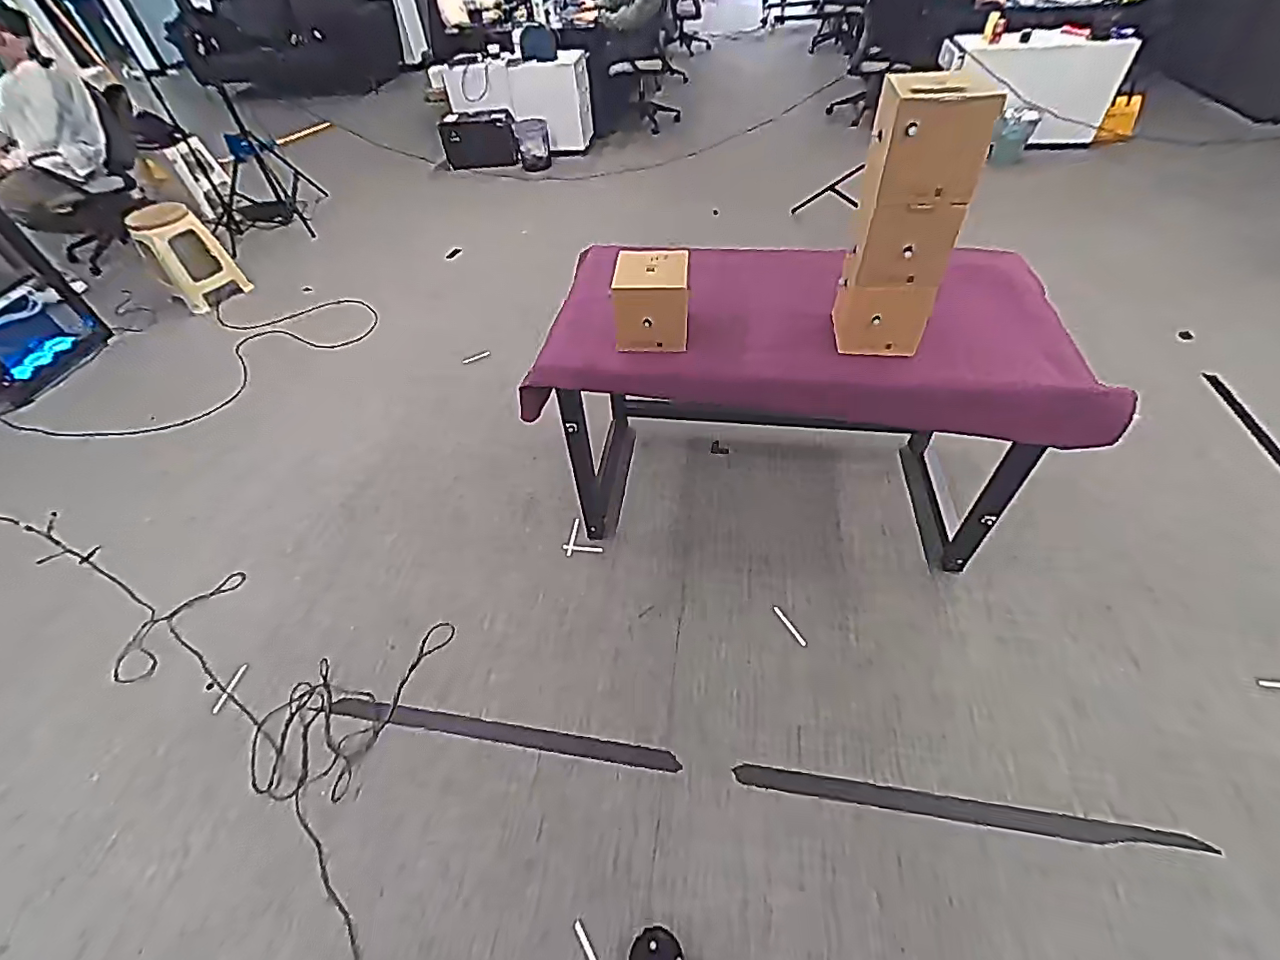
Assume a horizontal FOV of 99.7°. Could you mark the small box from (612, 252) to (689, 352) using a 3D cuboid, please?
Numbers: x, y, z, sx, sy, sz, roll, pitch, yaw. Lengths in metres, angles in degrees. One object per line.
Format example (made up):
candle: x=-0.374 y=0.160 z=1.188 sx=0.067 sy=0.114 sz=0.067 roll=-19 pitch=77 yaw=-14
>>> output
small box: x=0.032 y=-0.420 z=1.285 sx=0.168 sy=0.176 sz=0.179 roll=2 pitch=48 yaw=5

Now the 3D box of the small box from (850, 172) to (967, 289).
small box: x=0.539 y=-0.510 z=1.111 sx=0.168 sy=0.176 sz=0.179 roll=5 pitch=49 yaw=9

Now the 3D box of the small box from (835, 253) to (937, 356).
small box: x=0.547 y=-0.398 z=1.230 sx=0.168 sy=0.176 sz=0.179 roll=4 pitch=48 yaw=9
